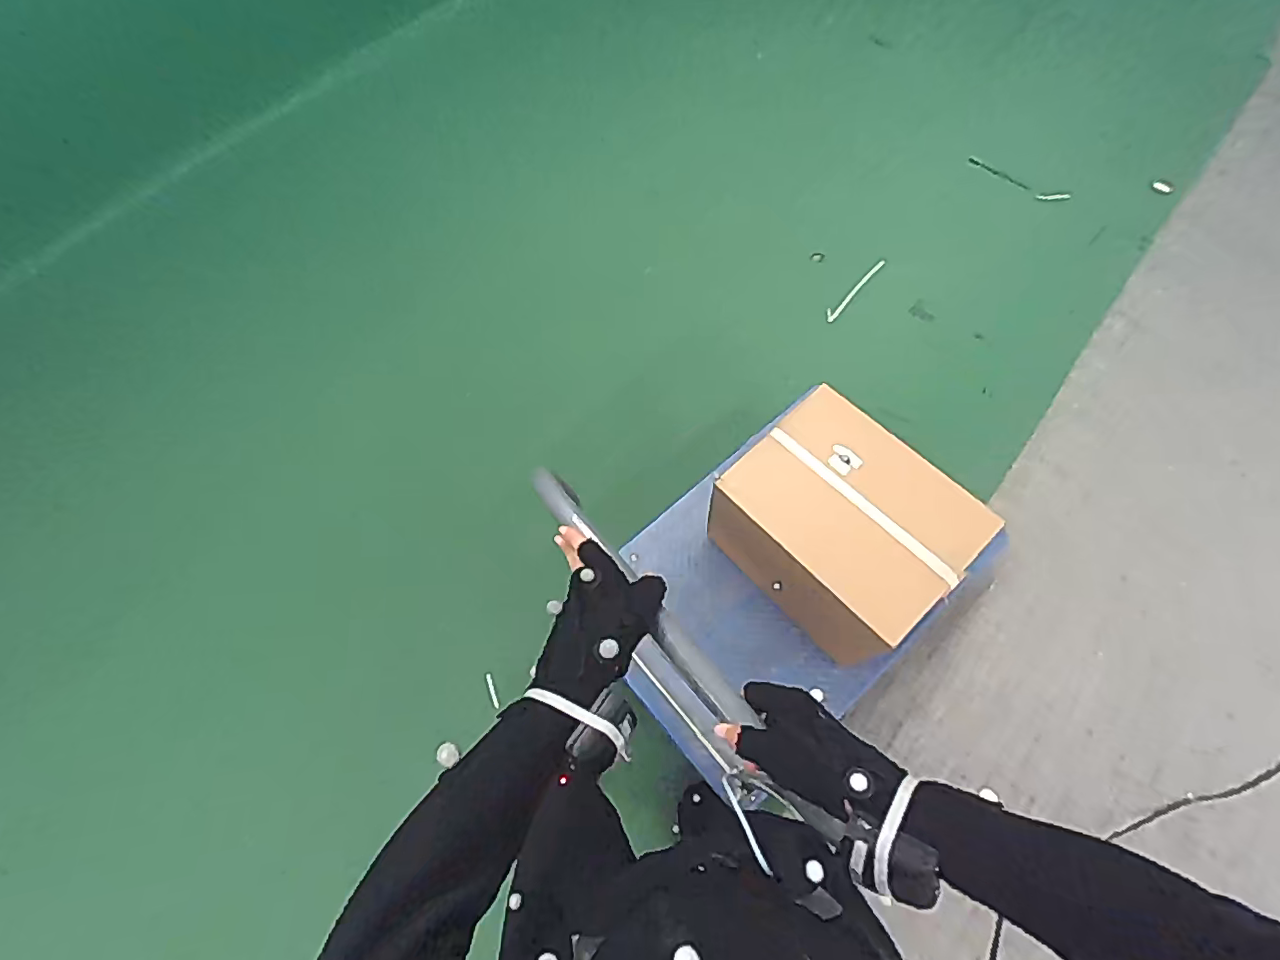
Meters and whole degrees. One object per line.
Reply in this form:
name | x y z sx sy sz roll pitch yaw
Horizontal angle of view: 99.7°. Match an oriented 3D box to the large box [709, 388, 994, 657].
large box | 0.392 0.098 1.114 0.320 0.320 0.408 -41 69 -14
